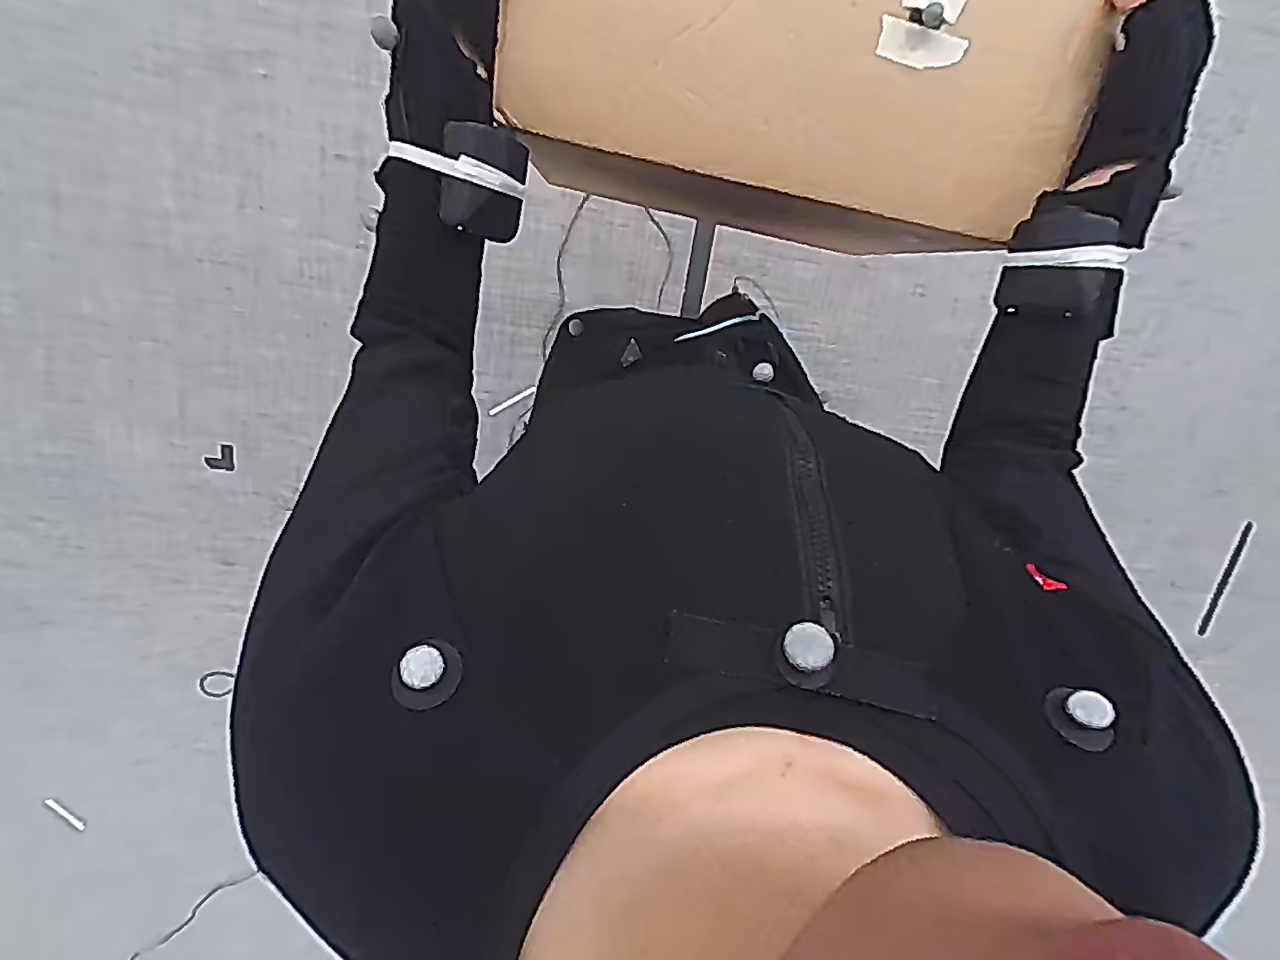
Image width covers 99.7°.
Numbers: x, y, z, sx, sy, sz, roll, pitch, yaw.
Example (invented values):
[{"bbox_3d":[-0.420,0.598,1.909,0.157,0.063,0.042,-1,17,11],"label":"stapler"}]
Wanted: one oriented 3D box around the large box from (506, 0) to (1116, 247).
[{"bbox_3d":[0.116,-0.408,0.478,0.408,0.320,0.320,9,112,-7],"label":"large box"}]
